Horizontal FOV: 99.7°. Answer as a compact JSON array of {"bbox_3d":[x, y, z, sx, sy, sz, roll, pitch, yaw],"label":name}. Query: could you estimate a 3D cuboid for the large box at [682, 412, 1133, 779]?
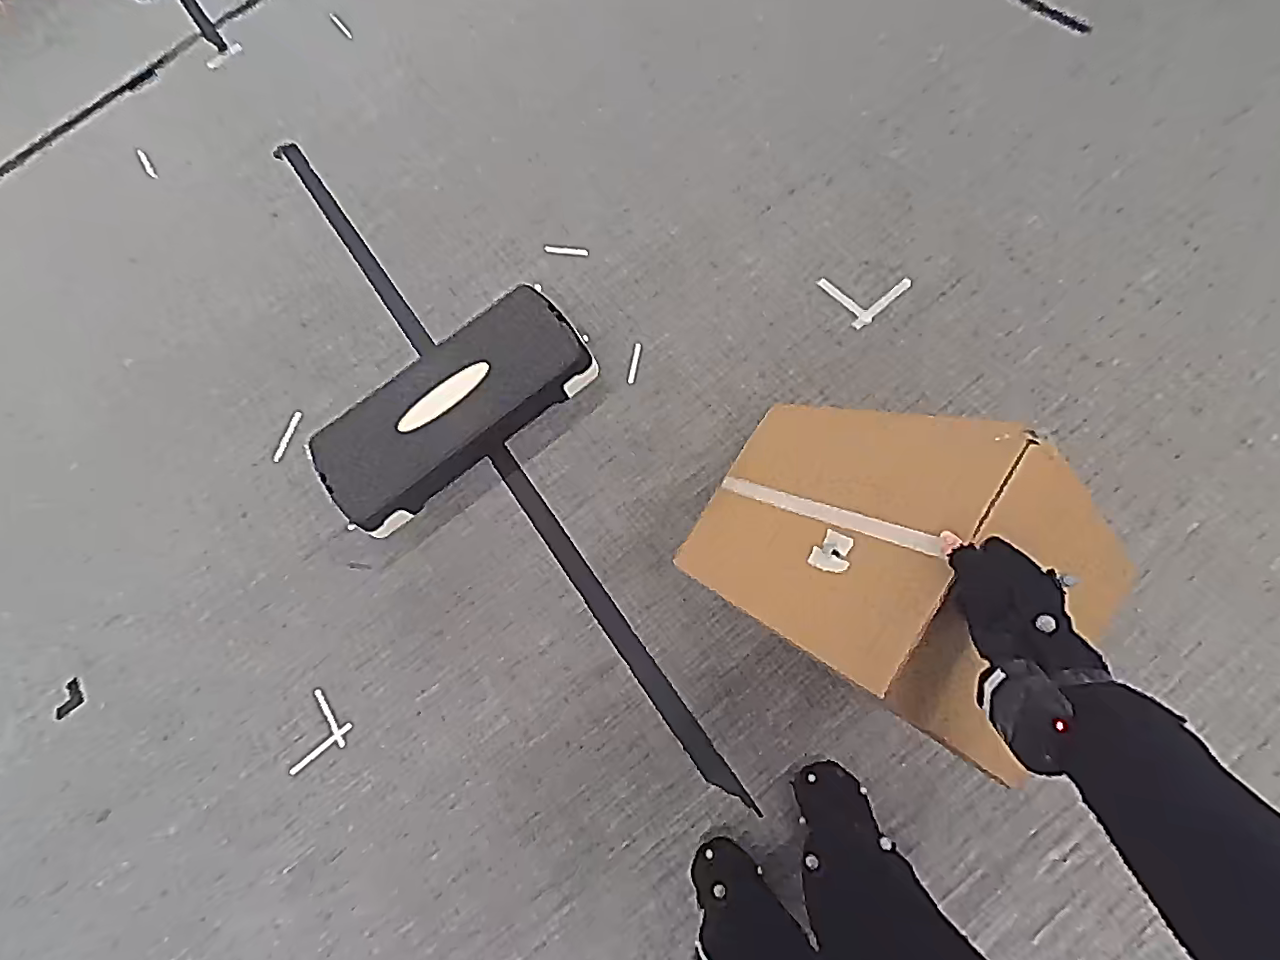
[{"bbox_3d":[0.338,0.122,0.755,0.320,0.408,0.320,34,83,-27],"label":"large box"}]
